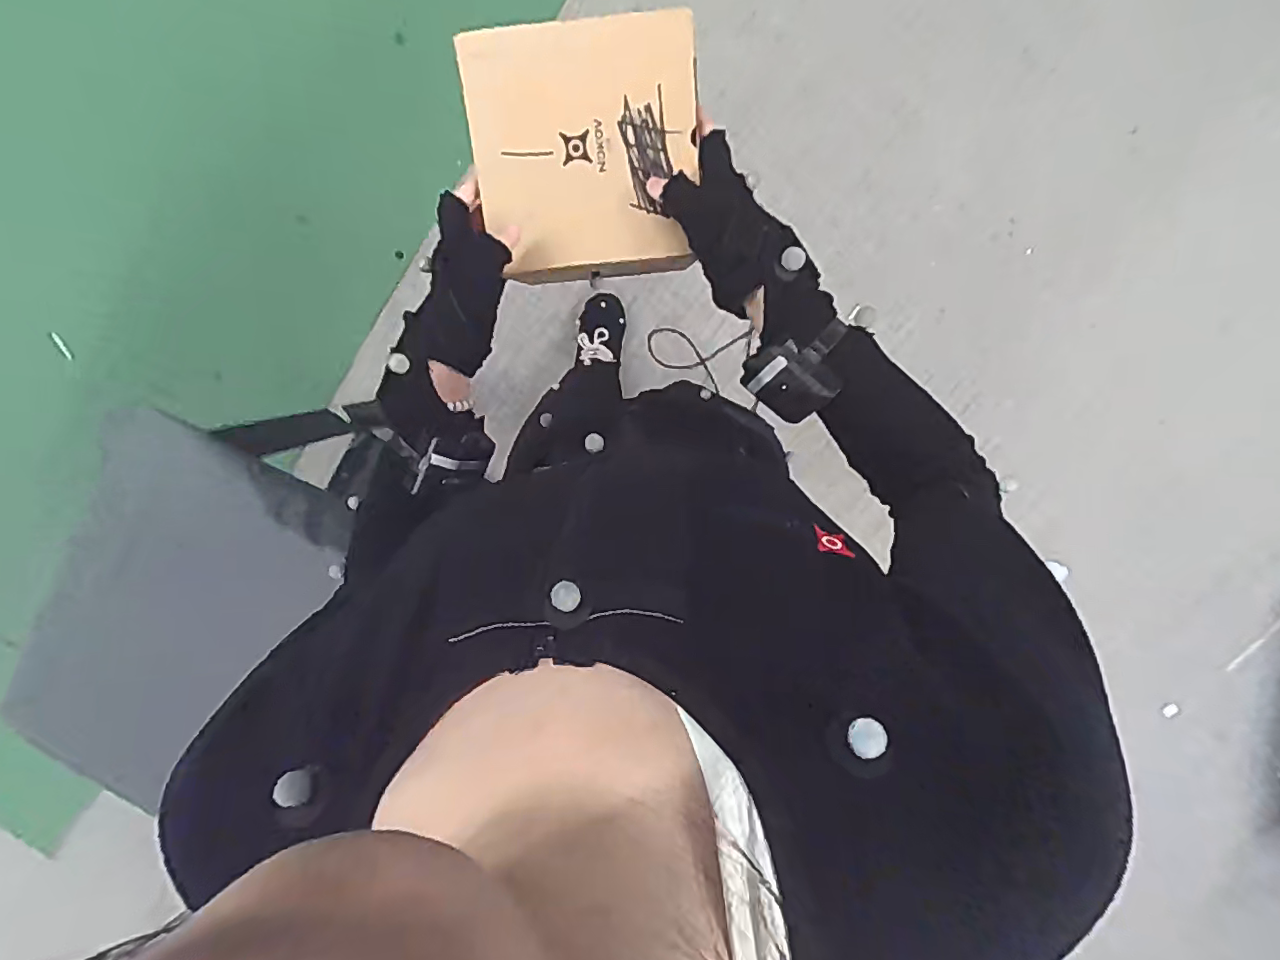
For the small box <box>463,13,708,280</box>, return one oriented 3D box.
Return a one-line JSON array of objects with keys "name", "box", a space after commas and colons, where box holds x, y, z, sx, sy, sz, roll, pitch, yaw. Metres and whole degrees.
[{"name": "small box", "box": [-0.039, -0.277, 0.488, 0.179, 0.176, 0.168, -4, 107, 0]}]
